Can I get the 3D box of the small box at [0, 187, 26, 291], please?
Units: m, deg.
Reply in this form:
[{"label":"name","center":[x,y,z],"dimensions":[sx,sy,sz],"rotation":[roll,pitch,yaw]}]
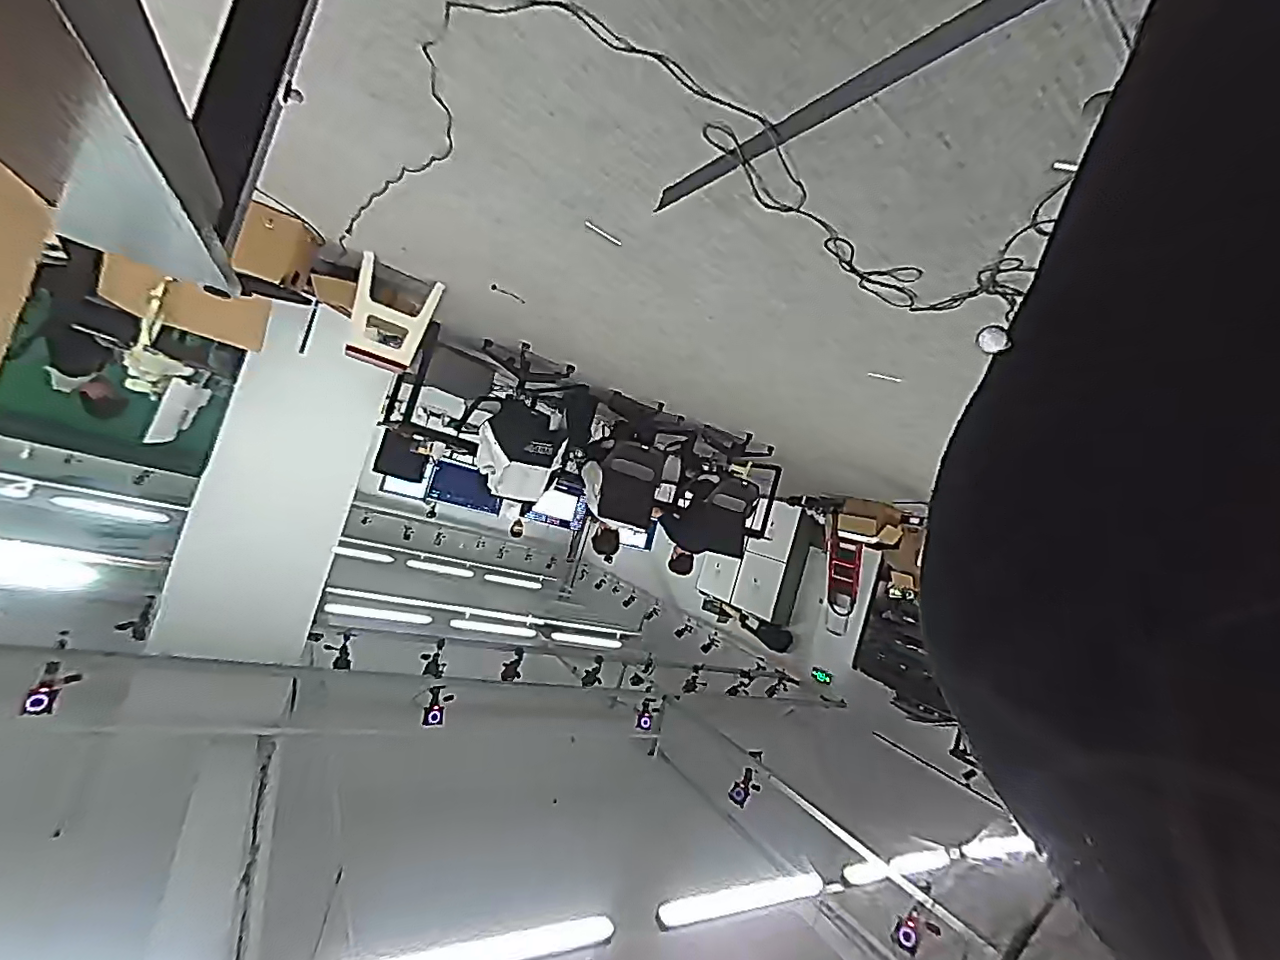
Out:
[{"label":"small box","center":[-0.482,-0.133,0.277],"dimensions":[0.168,0.176,0.179],"rotation":[17,176,-33]}]
